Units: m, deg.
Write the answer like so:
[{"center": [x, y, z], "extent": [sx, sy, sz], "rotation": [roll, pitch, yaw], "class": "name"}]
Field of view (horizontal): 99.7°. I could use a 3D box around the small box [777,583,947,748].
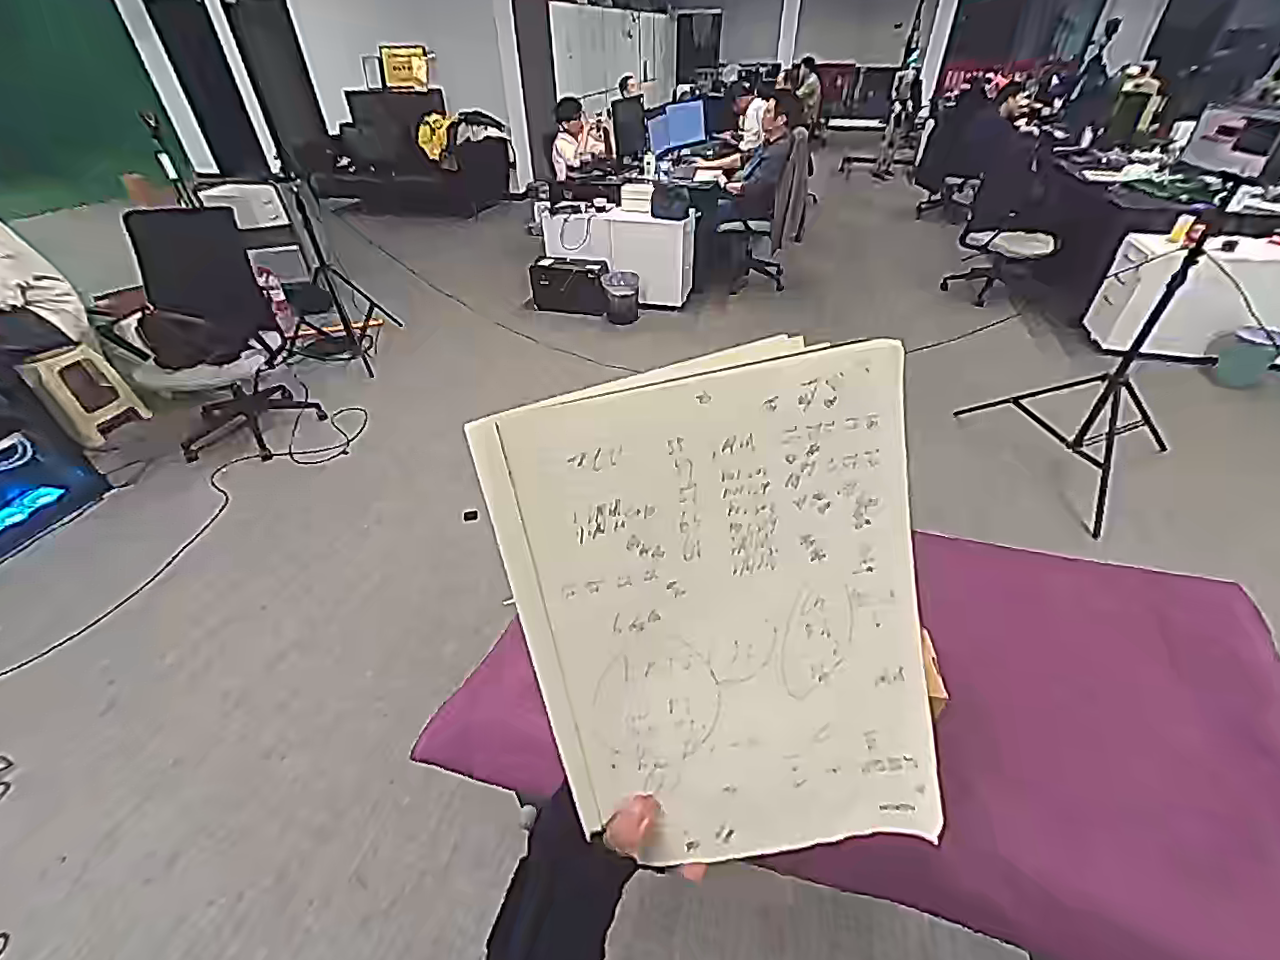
[{"center": [0.311, 0.275, 0.800], "extent": [0.179, 0.176, 0.168], "rotation": [3, 38, 4], "class": "small box"}]
